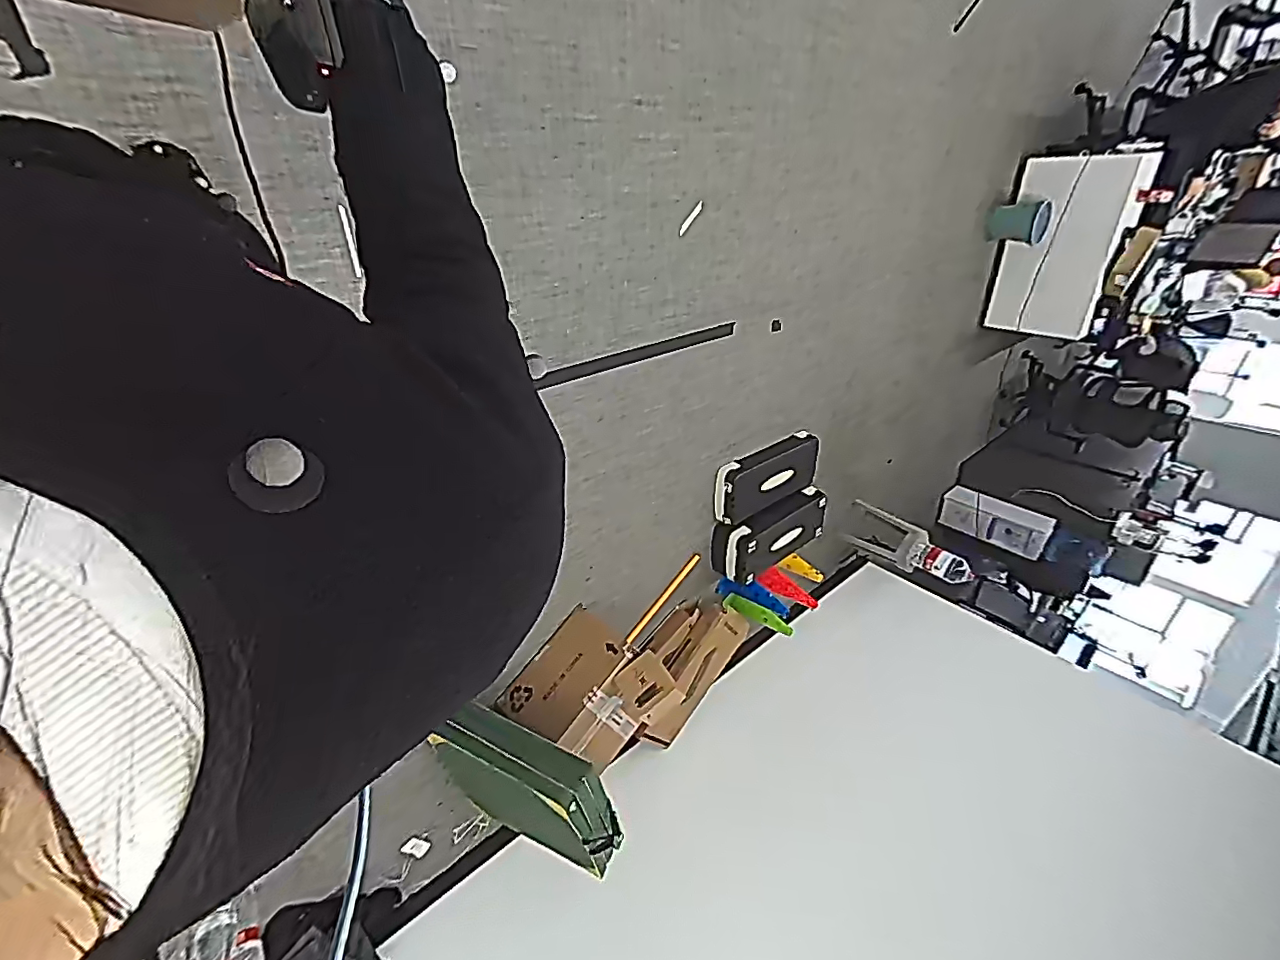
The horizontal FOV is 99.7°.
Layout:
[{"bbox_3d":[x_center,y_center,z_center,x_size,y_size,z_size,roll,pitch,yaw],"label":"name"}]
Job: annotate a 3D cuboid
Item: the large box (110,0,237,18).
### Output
[{"bbox_3d":[-0.458,-0.460,0.242,0.408,0.320,0.320,-19,130,-38],"label":"large box"}]
